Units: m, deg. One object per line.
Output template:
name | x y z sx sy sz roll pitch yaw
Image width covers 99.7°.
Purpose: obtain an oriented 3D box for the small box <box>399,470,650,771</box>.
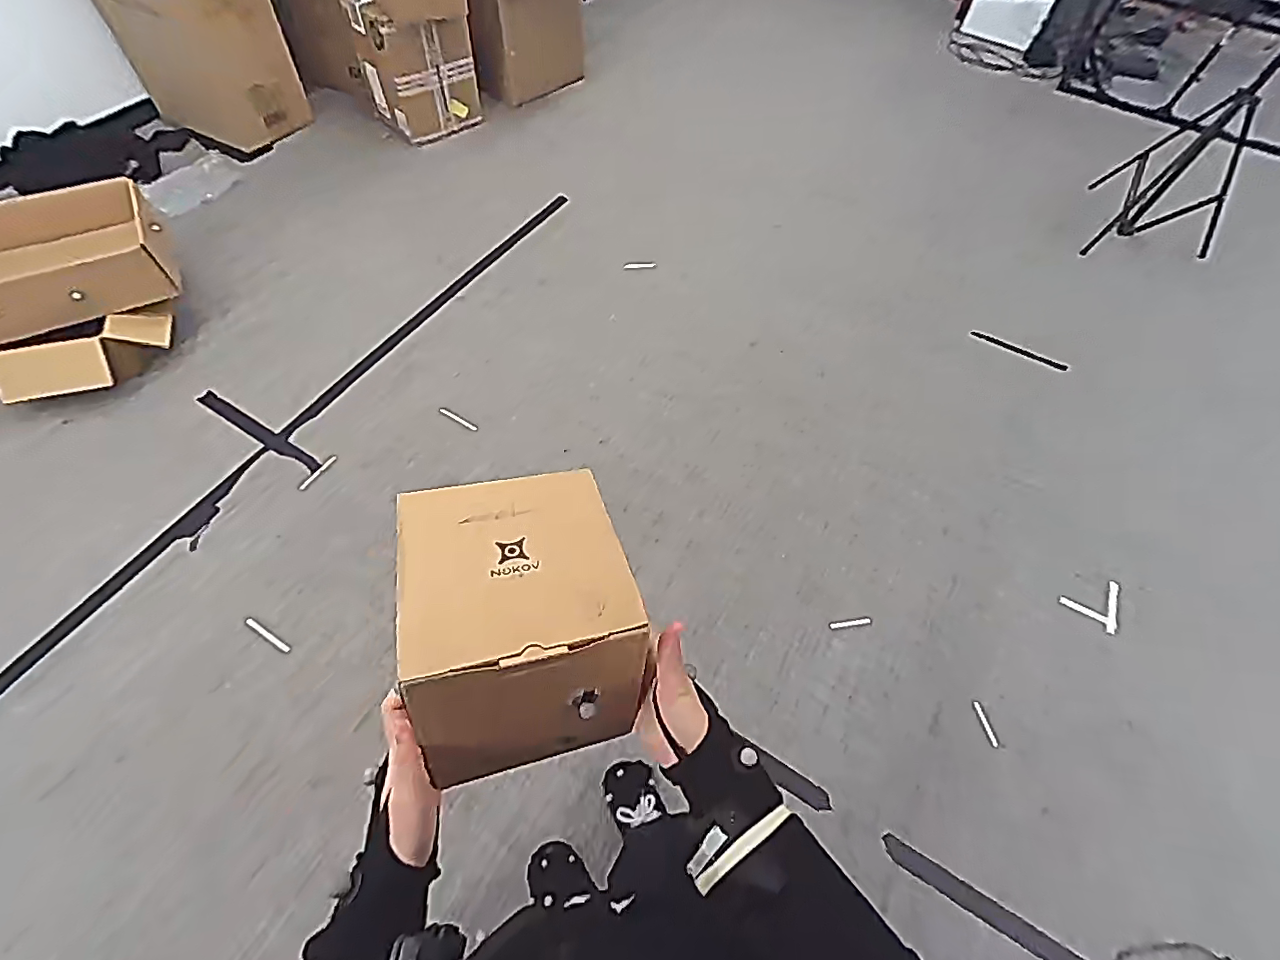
small box | -0.100 0.118 0.458 0.168 0.176 0.179 -8 42 -18
